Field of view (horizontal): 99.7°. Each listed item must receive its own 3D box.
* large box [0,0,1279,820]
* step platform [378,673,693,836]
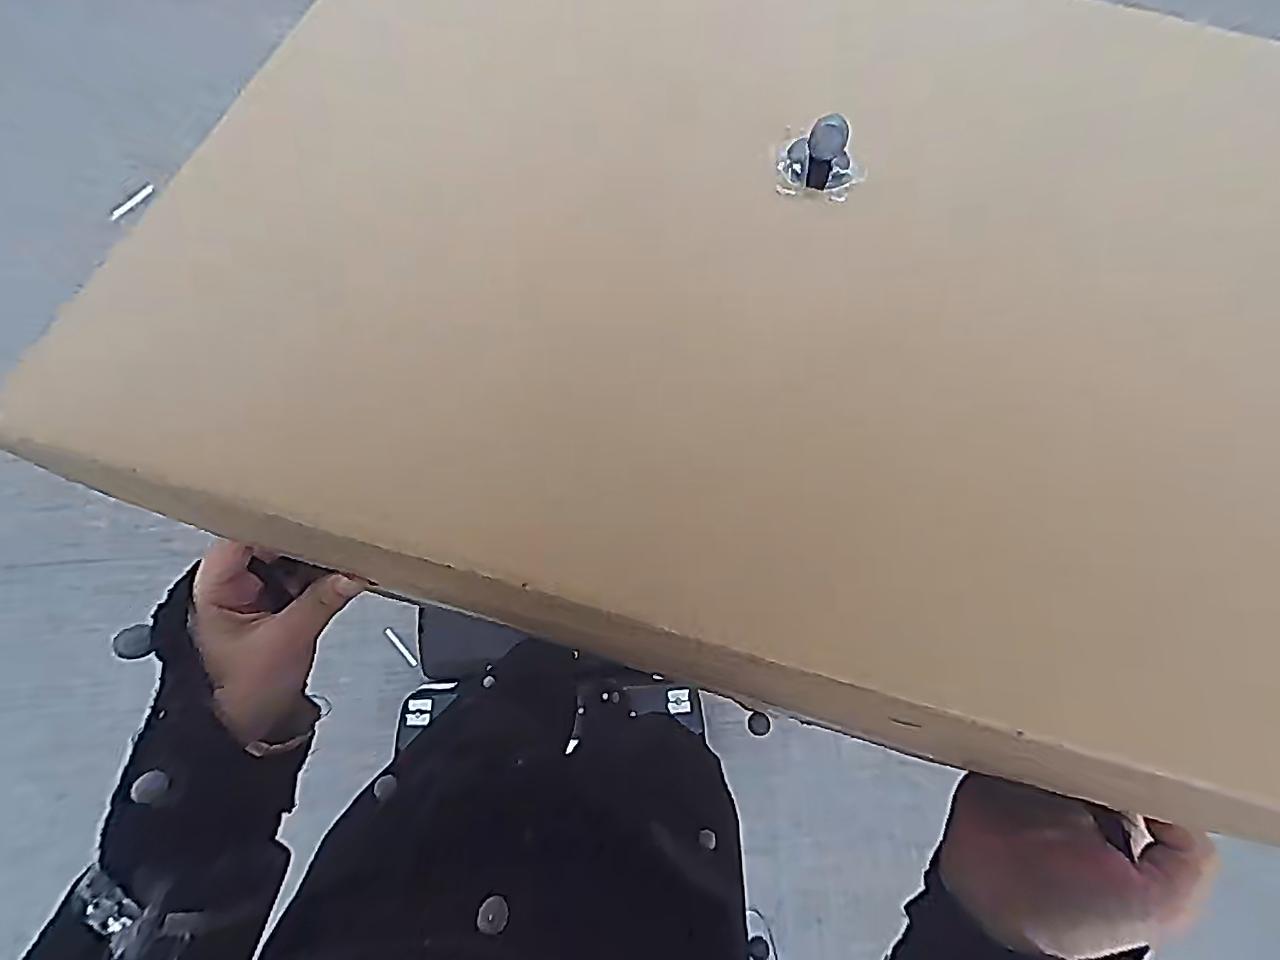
[{"bbox_3d":[0.039,-0.051,0.325,0.408,0.320,0.320,14,71,4],"label":"large box"},{"bbox_3d":[-0.222,0.613,1.231,0.684,0.204,0.286,2,77,1],"label":"step platform"}]
